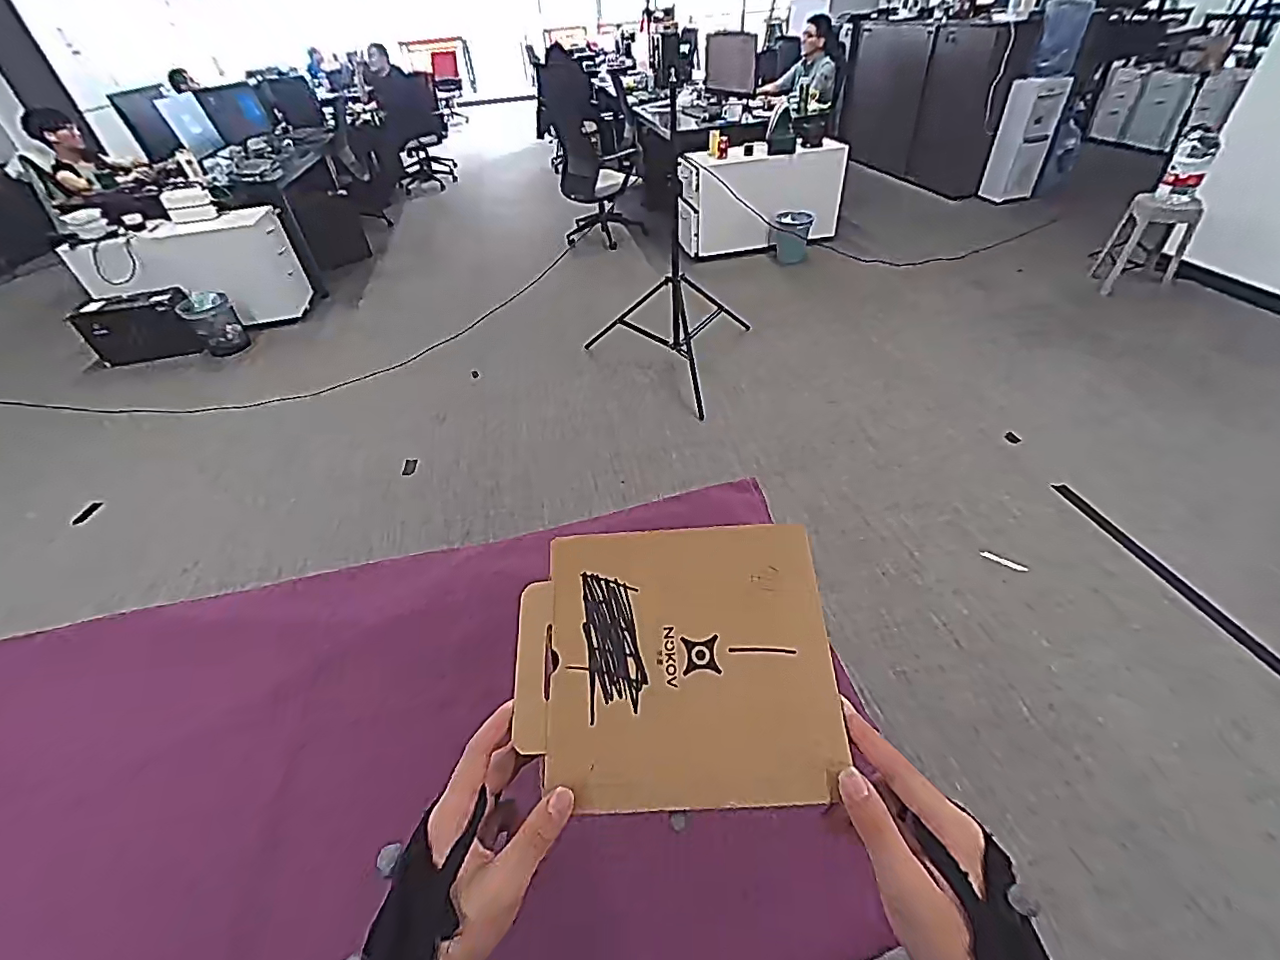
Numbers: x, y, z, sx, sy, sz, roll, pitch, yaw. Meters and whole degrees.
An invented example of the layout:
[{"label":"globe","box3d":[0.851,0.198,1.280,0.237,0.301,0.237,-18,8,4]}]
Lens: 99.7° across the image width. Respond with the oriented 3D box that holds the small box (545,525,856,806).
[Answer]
[{"label":"small box","box3d":[0.036,0.145,0.406,0.179,0.176,0.168,-4,62,2]}]
